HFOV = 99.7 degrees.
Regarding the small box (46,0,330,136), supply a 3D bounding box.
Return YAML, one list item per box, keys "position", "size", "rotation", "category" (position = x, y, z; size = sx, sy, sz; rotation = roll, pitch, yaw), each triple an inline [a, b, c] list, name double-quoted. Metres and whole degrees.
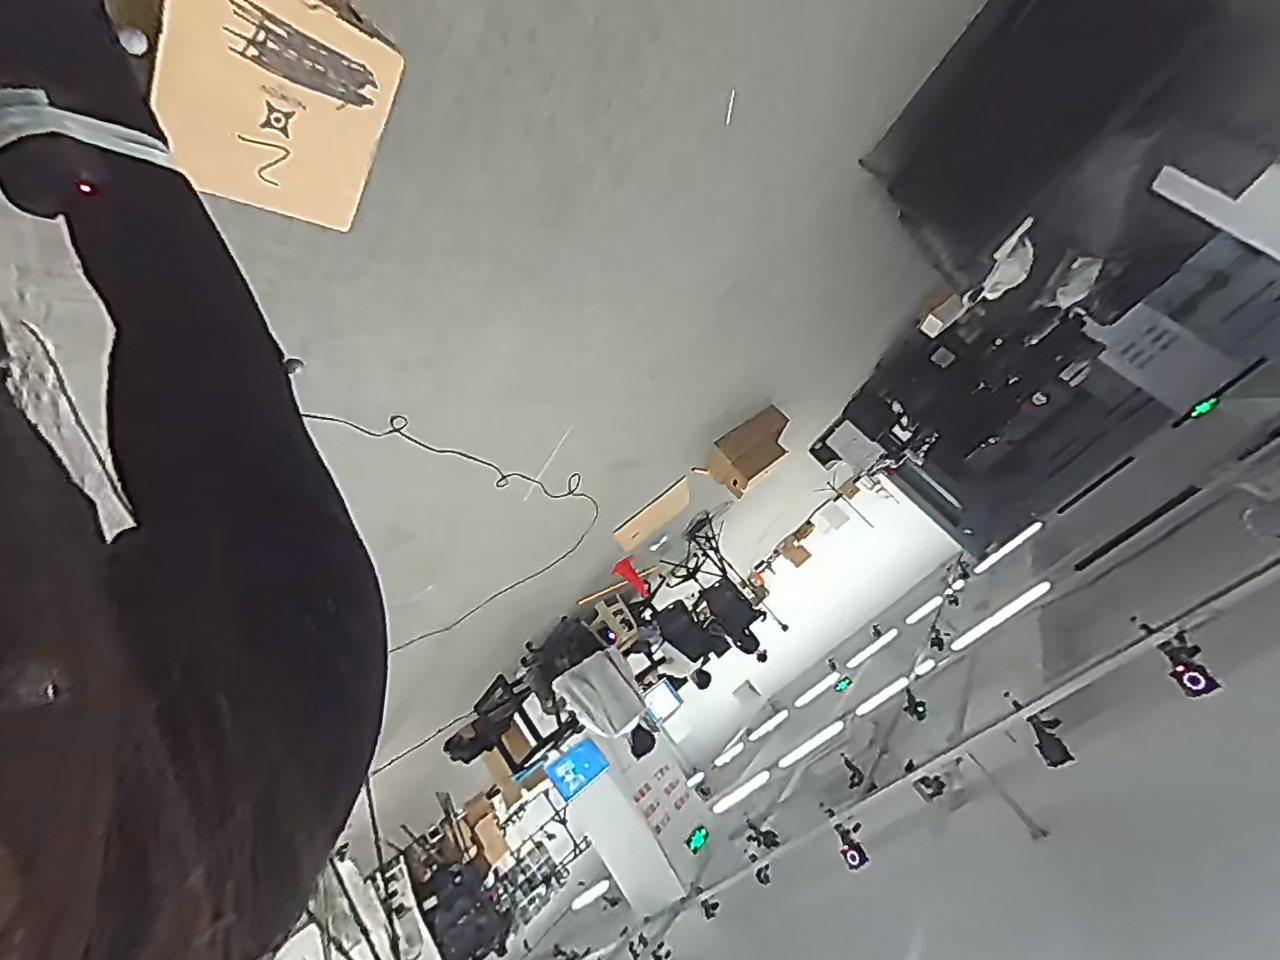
- position: [-0.446, -0.491, 0.530]
  size: [0.179, 0.176, 0.168]
  rotation: [-11, 144, -55]
  category: "small box"
